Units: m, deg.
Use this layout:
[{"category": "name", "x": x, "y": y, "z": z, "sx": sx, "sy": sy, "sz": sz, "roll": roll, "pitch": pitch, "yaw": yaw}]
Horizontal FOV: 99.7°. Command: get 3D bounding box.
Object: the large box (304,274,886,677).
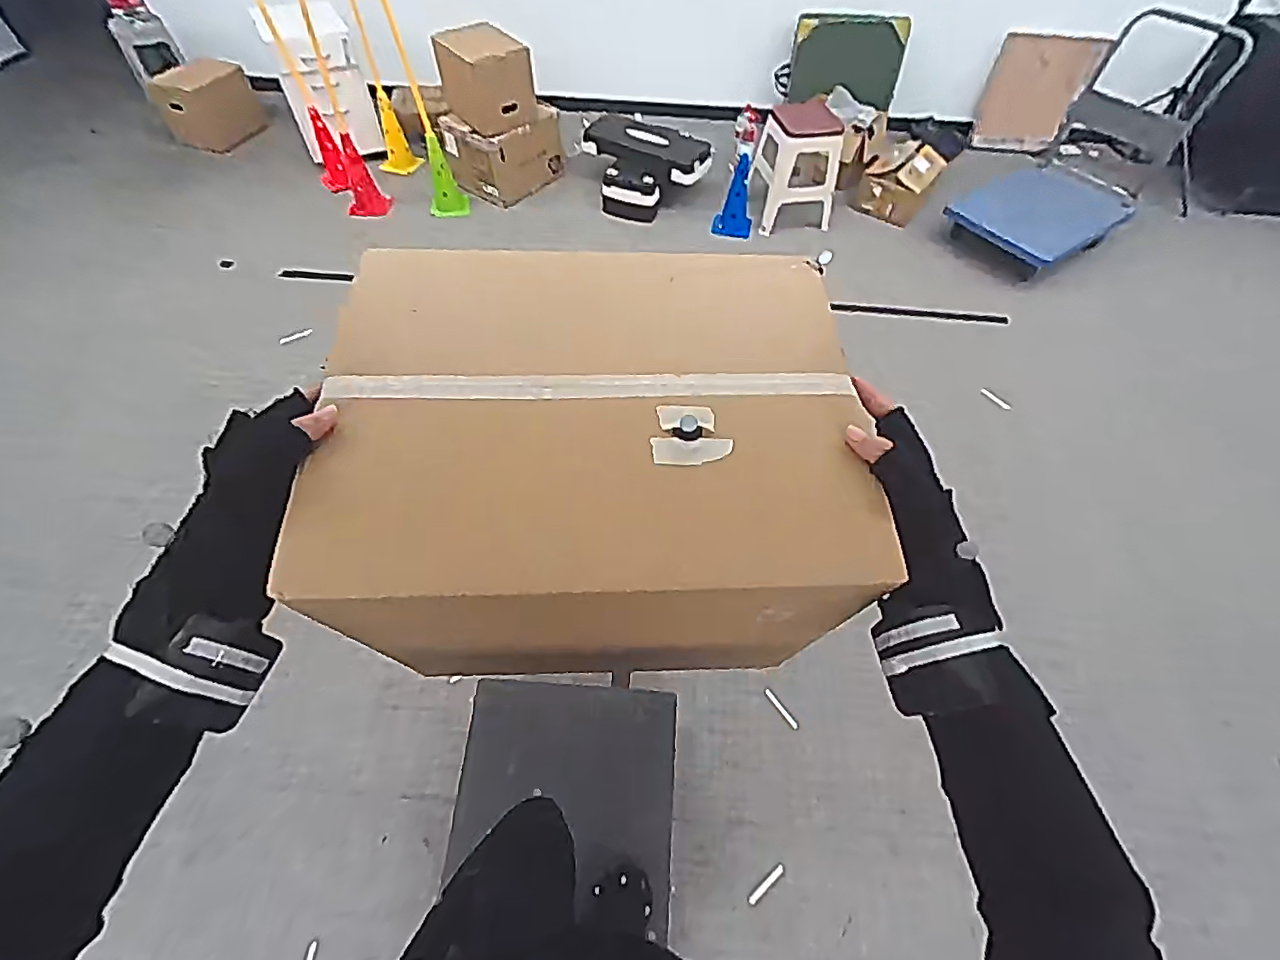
[{"category": "large box", "x": -0.040, "y": 0.012, "z": 0.565, "sx": 0.408, "sy": 0.320, "sz": 0.320, "roll": -1, "pitch": 62, "yaw": -4}]
